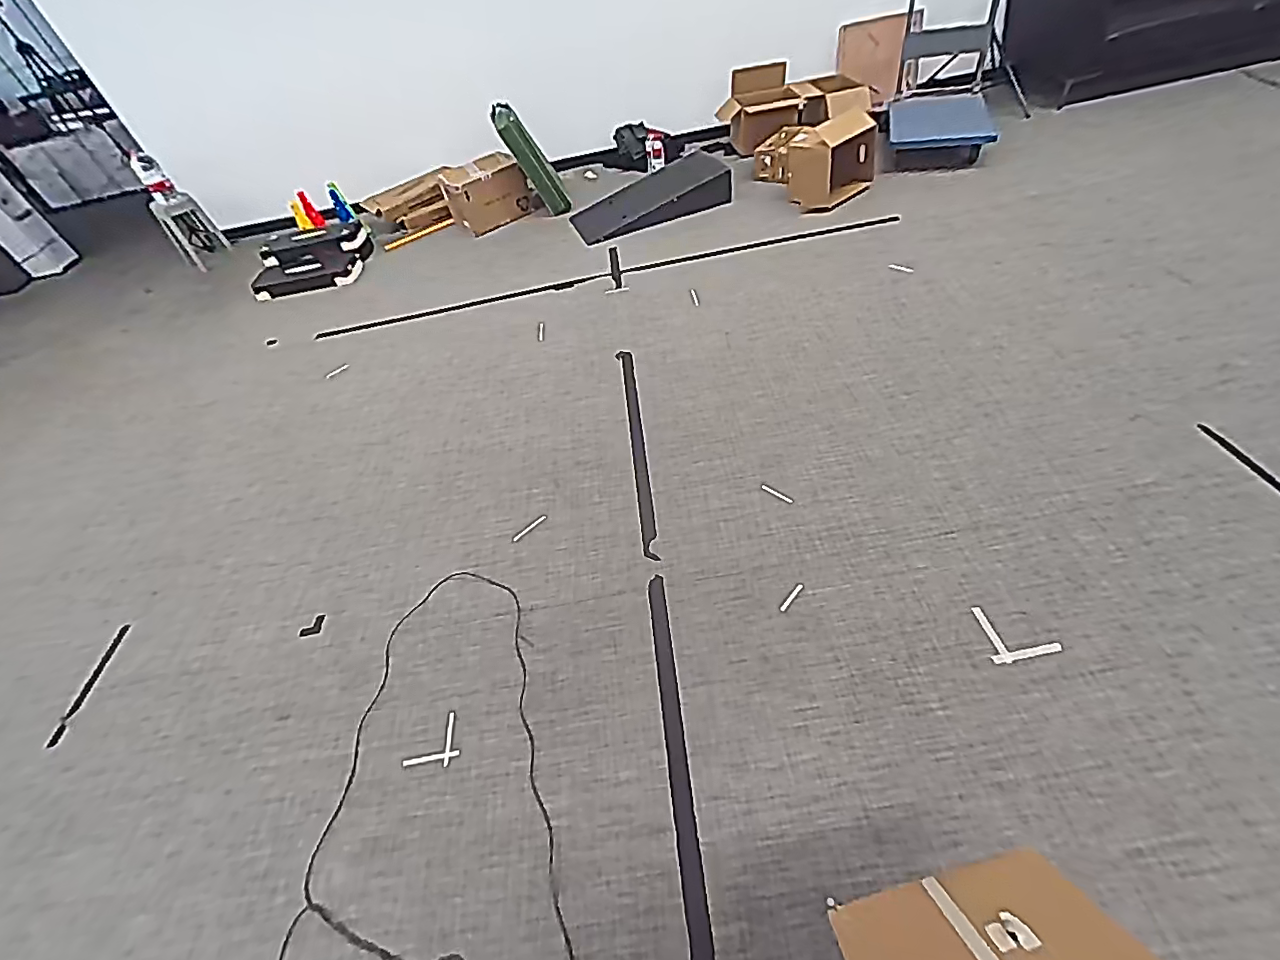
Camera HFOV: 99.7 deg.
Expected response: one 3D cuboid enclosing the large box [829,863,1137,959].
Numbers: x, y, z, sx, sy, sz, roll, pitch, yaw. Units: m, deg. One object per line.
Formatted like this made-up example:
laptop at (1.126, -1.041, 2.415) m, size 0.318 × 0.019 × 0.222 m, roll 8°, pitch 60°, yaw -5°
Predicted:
large box at (0.460, 0.726, 0.584) m, size 0.320 × 0.408 × 0.320 m, roll -17°, pitch 82°, yaw 0°
